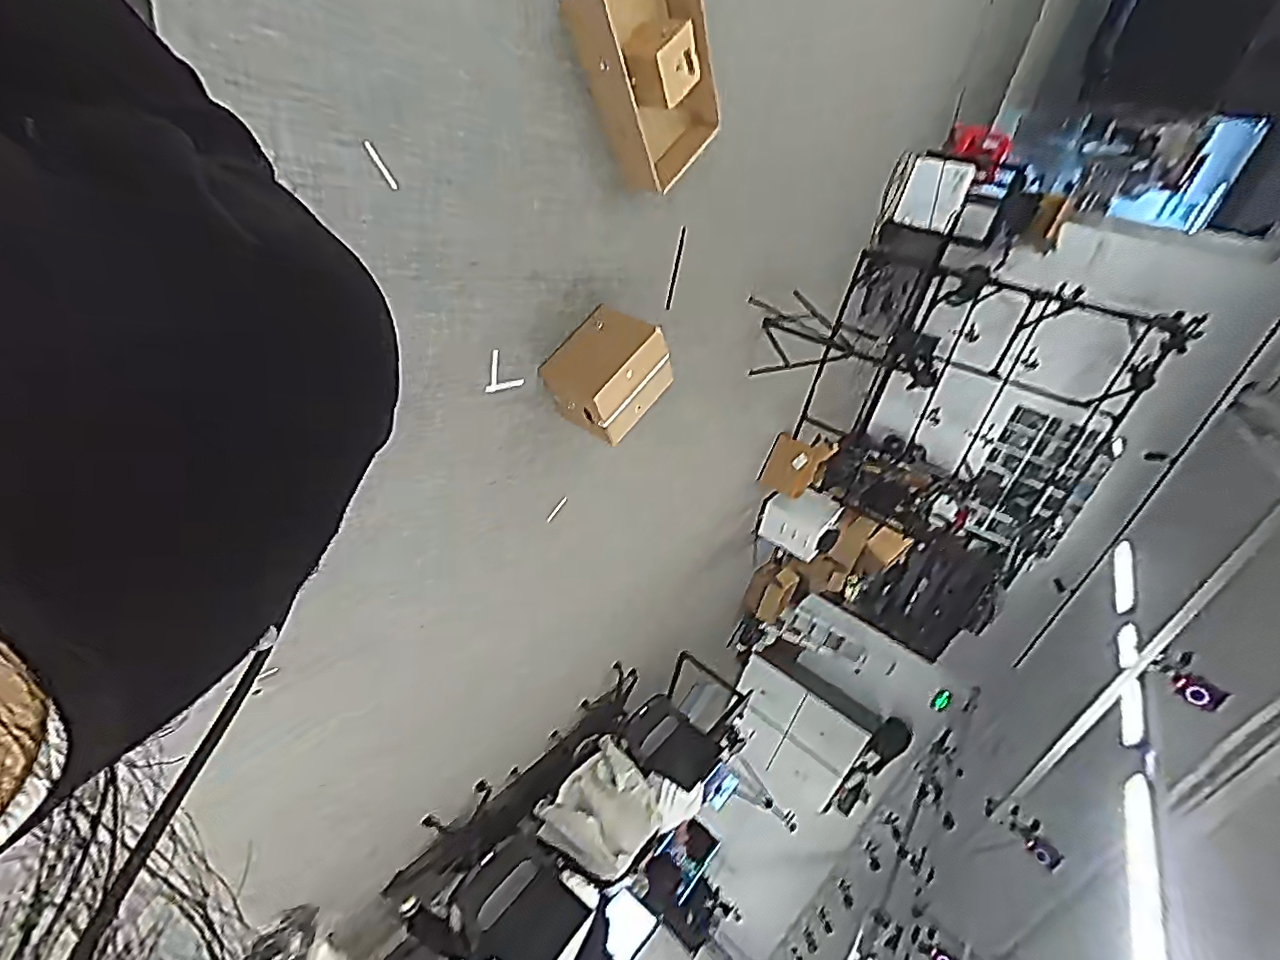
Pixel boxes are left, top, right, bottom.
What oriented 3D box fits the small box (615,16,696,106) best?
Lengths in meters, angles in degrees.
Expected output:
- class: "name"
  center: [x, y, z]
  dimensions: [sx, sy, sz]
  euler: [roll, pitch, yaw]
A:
- class: "small box"
  center: [0.050, -1.342, 1.726]
  dimensions: [0.179, 0.176, 0.168]
  euler: [-53, 151, -11]
